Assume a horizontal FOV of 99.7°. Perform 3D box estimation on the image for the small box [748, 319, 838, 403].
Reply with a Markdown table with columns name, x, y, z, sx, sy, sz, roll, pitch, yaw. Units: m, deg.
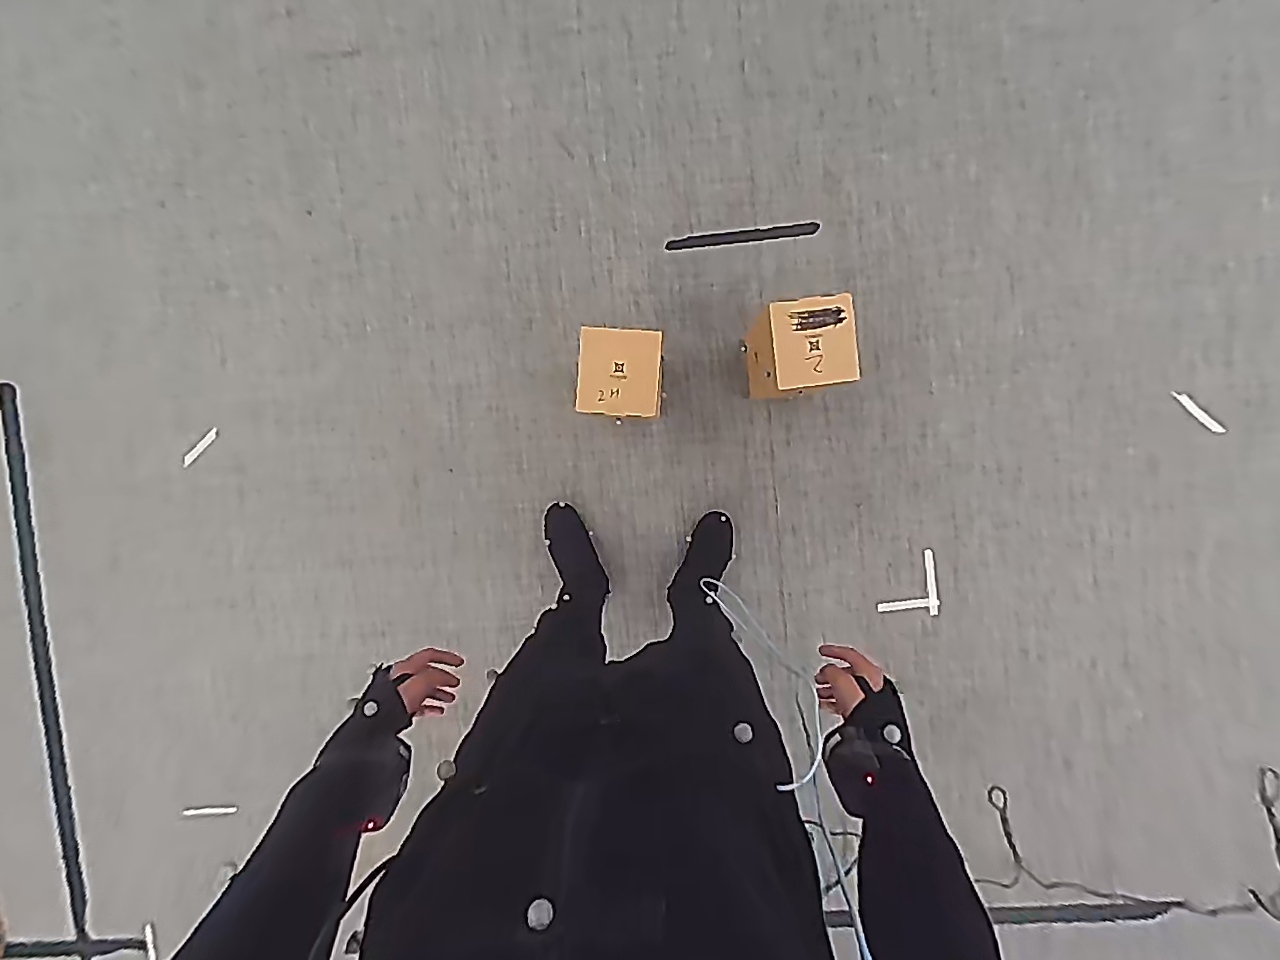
| name | x | y | z | sx | sy | sz | roll | pitch | yaw |
| --- | --- | --- | --- | --- | --- | --- | --- | --- | --- |
| small box | 0.364 | -0.283 | 1.319 | 0.179 | 0.176 | 0.168 | -6 | 93 | 1 |

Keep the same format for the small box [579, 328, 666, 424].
| name | x | y | z | sx | sy | sz | roll | pitch | yaw |
| --- | --- | --- | --- | --- | --- | --- | --- | --- | --- |
| small box | -0.034 | -0.218 | 1.173 | 0.168 | 0.176 | 0.179 | 5 | 94 | 3 |
